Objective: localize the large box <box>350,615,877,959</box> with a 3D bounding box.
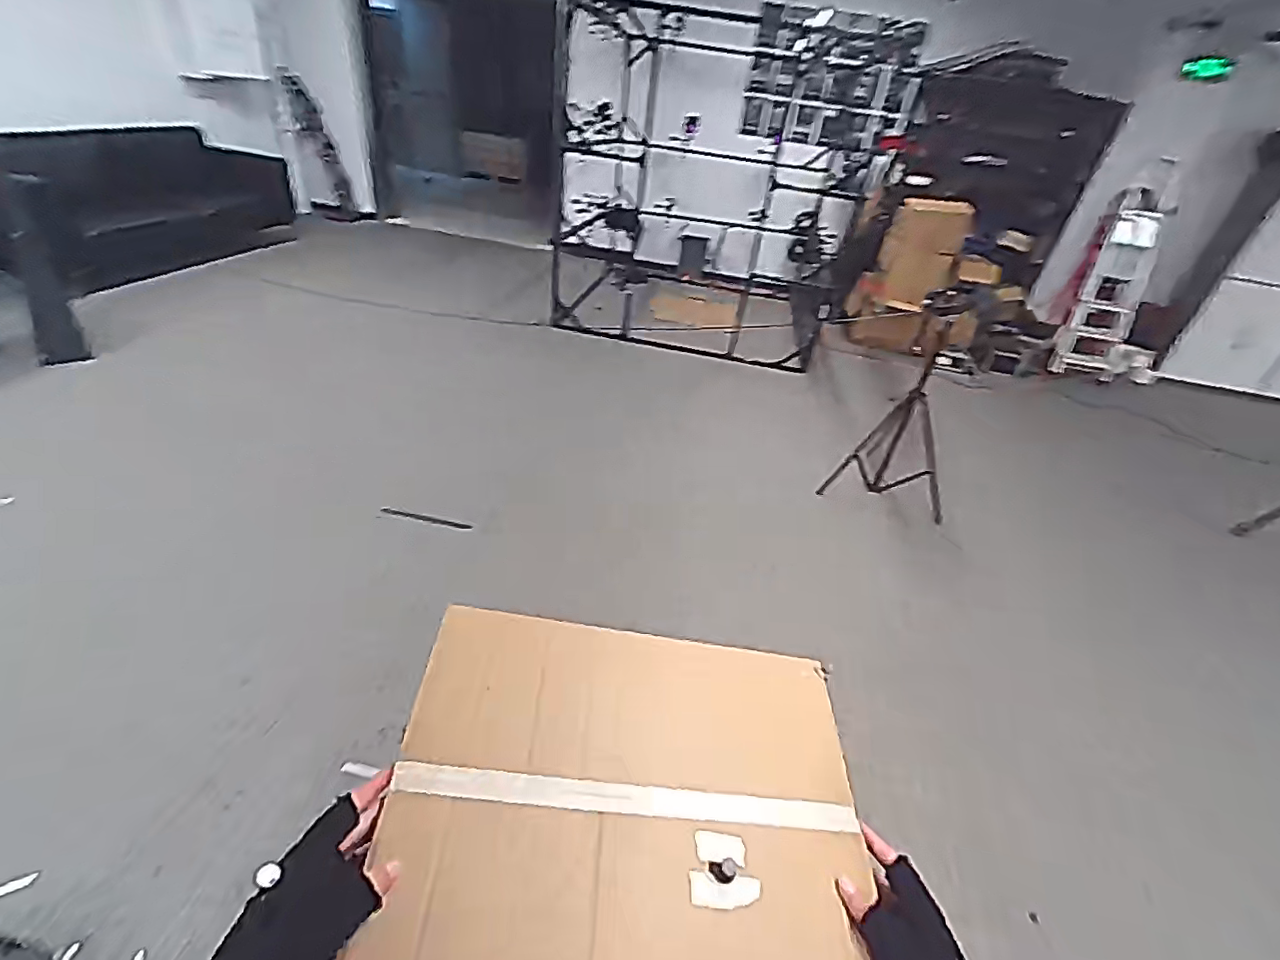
[{"bbox_3d":[-0.043,0.376,0.572,0.408,0.320,0.320,11,44,-11],"label":"large box"}]
